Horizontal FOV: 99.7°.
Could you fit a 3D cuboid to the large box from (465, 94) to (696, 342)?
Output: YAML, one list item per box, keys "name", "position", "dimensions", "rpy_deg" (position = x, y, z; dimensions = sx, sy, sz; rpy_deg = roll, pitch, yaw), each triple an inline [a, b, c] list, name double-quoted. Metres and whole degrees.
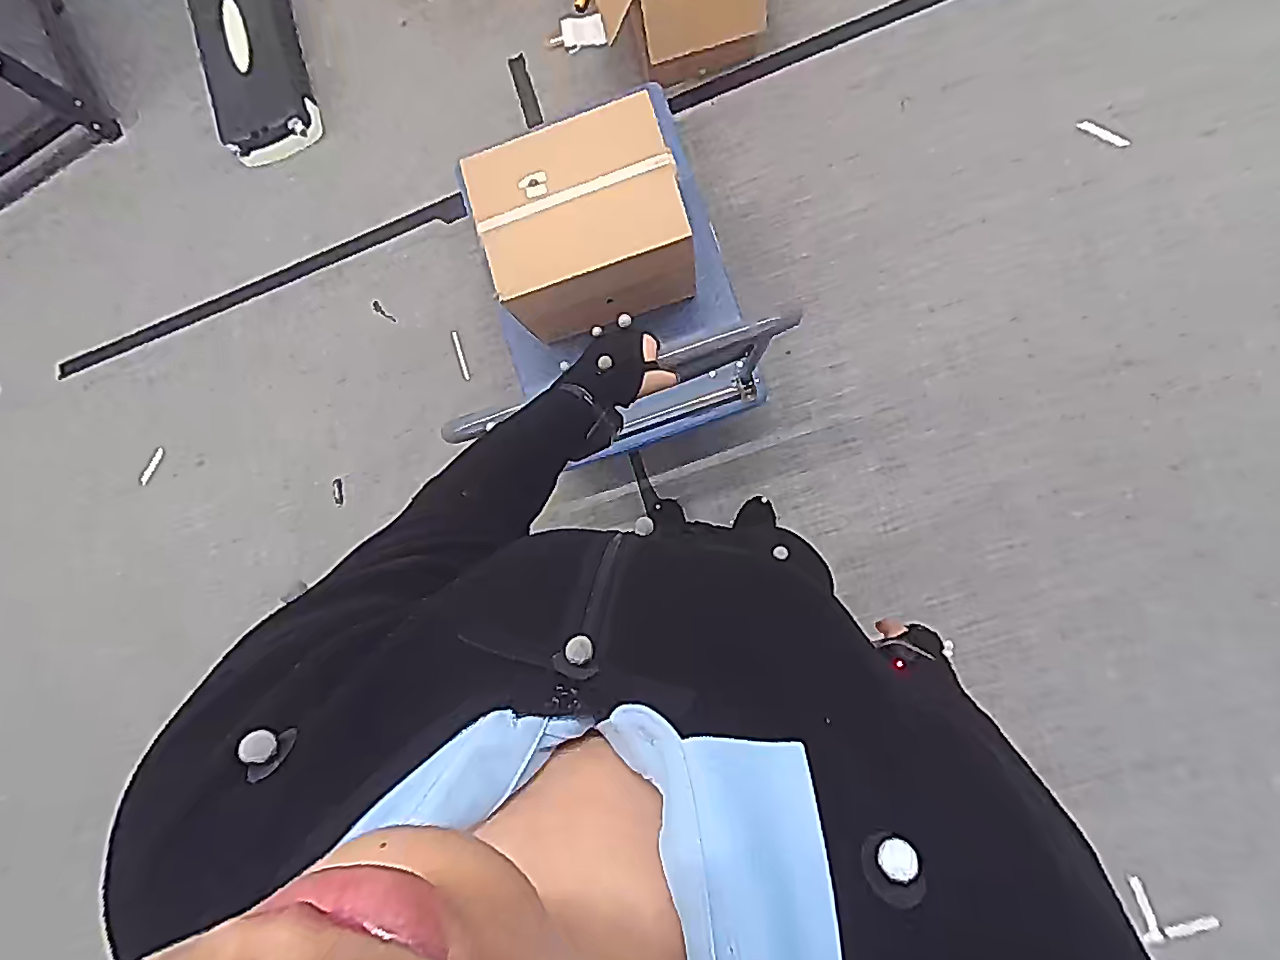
- name: "large box"
  position: [-0.111, -0.556, 1.227]
  dimensions: [0.408, 0.320, 0.320]
  rpy_deg: [-17, 85, 7]
